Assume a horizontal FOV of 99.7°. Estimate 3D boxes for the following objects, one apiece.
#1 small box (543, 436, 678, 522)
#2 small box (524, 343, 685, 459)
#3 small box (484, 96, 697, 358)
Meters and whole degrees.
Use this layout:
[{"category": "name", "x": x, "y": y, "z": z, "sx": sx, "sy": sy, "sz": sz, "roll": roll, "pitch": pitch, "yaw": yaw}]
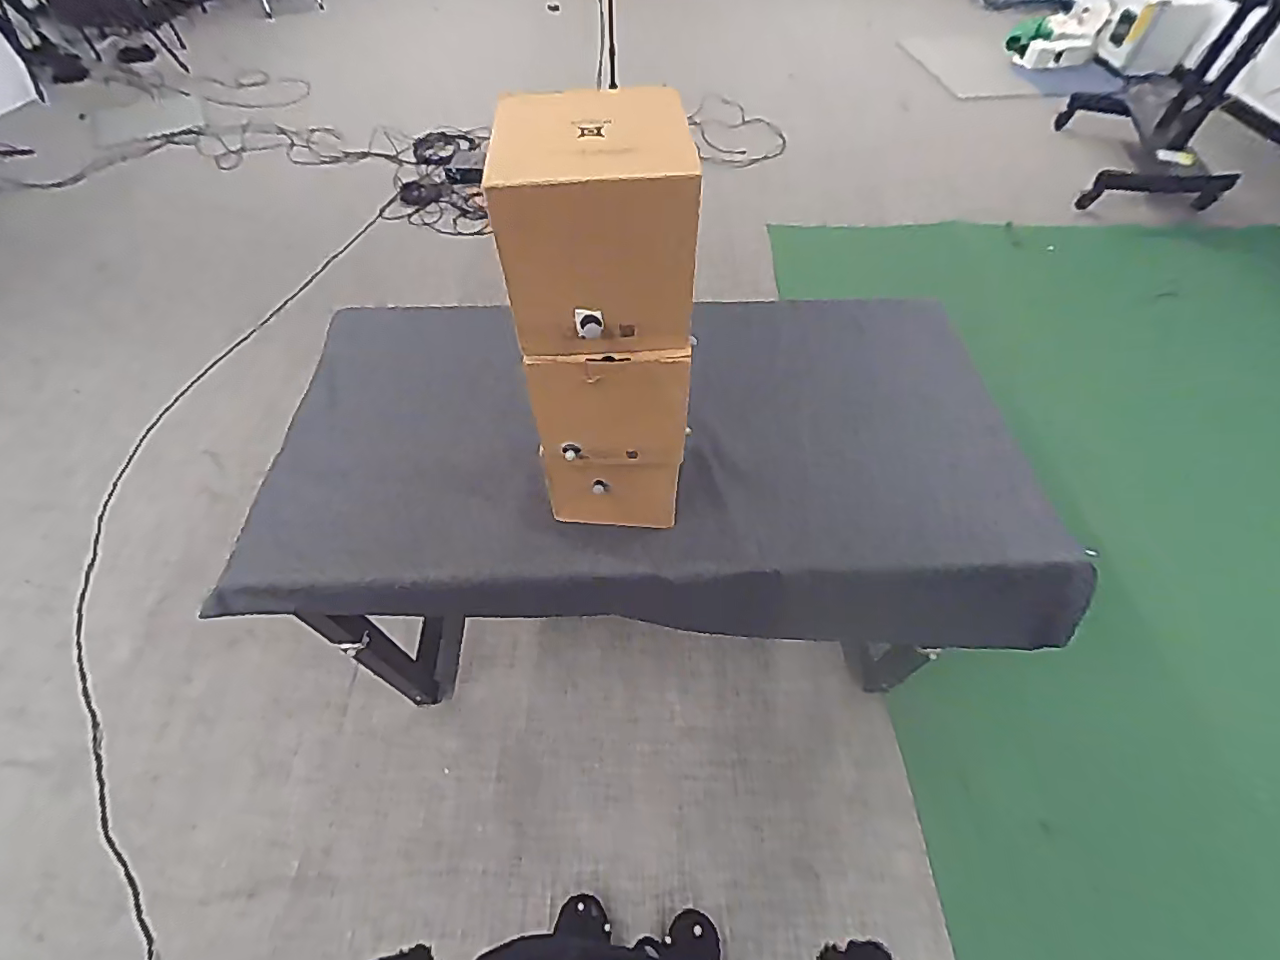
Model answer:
[{"category": "small box", "x": -0.034, "y": -0.050, "z": 0.791, "sx": 0.179, "sy": 0.176, "sz": 0.168, "roll": 1, "pitch": 52, "yaw": 1}, {"category": "small box", "x": -0.037, "y": -0.137, "z": 0.648, "sx": 0.168, "sy": 0.176, "sz": 0.179, "roll": -4, "pitch": 55, "yaw": -2}, {"category": "small box", "x": -0.042, "y": -0.241, "z": 0.524, "sx": 0.168, "sy": 0.176, "sz": 0.179, "roll": -5, "pitch": 54, "yaw": -2}]
